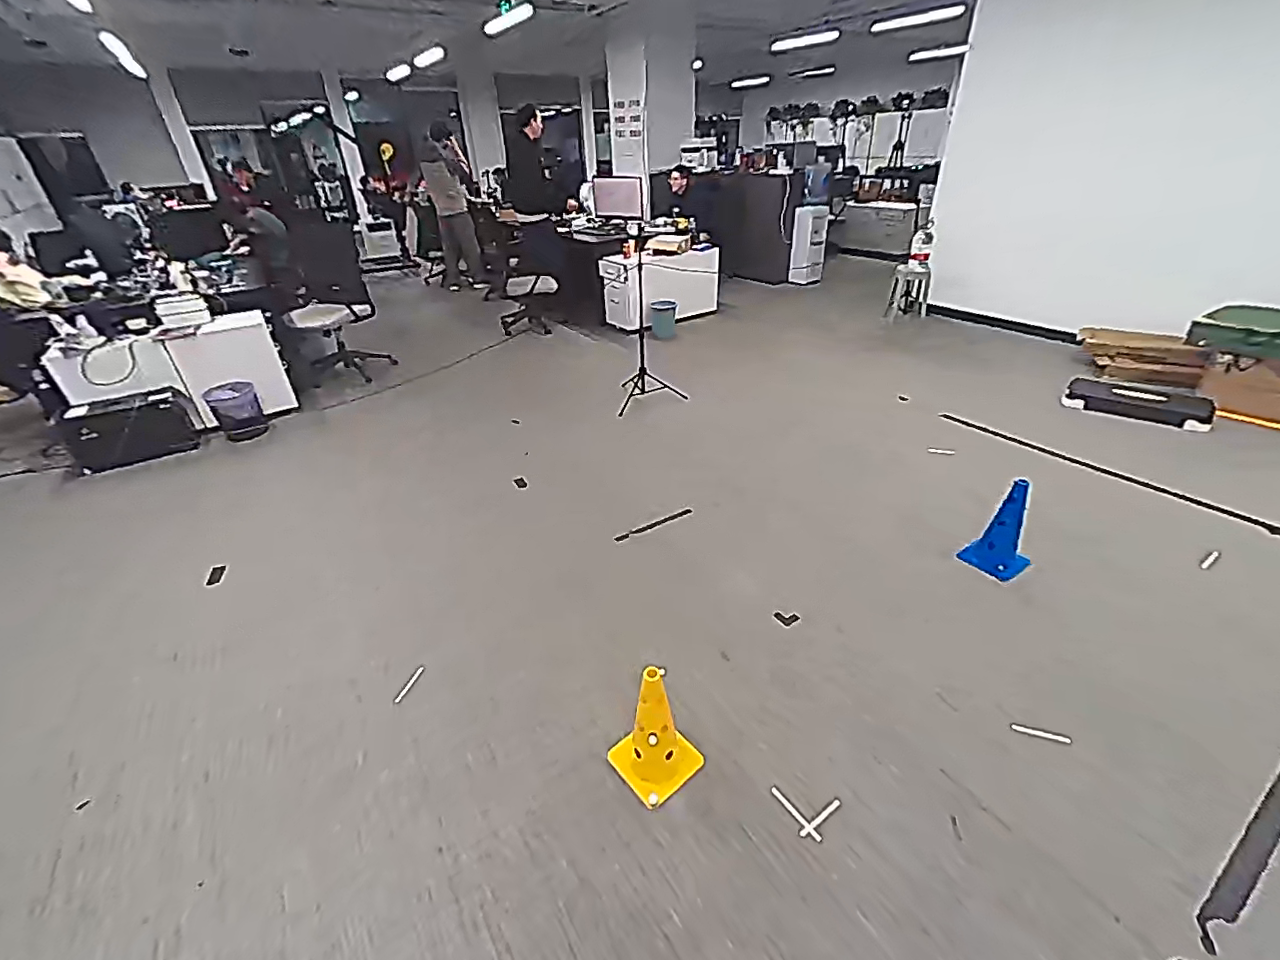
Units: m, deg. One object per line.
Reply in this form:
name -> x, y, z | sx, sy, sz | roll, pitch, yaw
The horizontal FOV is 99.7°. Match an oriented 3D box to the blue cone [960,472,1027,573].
blue cone -> 1.363, 0.146, 2.013 | 0.193, 0.380, 0.192 | -20, 35, -26
